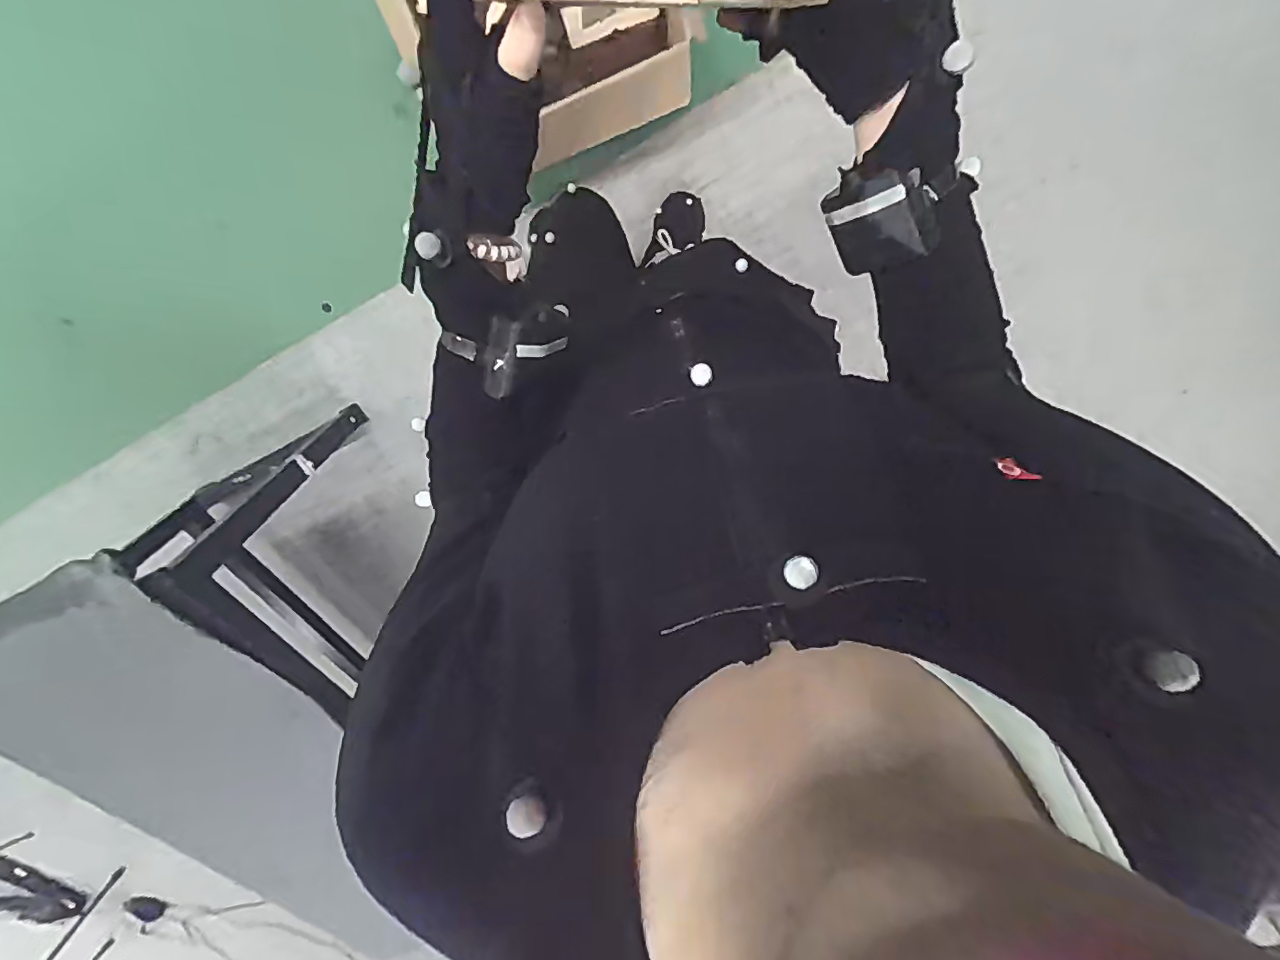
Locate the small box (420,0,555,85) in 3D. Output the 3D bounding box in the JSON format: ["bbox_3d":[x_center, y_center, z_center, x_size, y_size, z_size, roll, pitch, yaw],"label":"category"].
[{"bbox_3d":[-0.246,-0.763,0.856,0.168,0.176,0.179,-15,119,8],"label":"small box"}]
